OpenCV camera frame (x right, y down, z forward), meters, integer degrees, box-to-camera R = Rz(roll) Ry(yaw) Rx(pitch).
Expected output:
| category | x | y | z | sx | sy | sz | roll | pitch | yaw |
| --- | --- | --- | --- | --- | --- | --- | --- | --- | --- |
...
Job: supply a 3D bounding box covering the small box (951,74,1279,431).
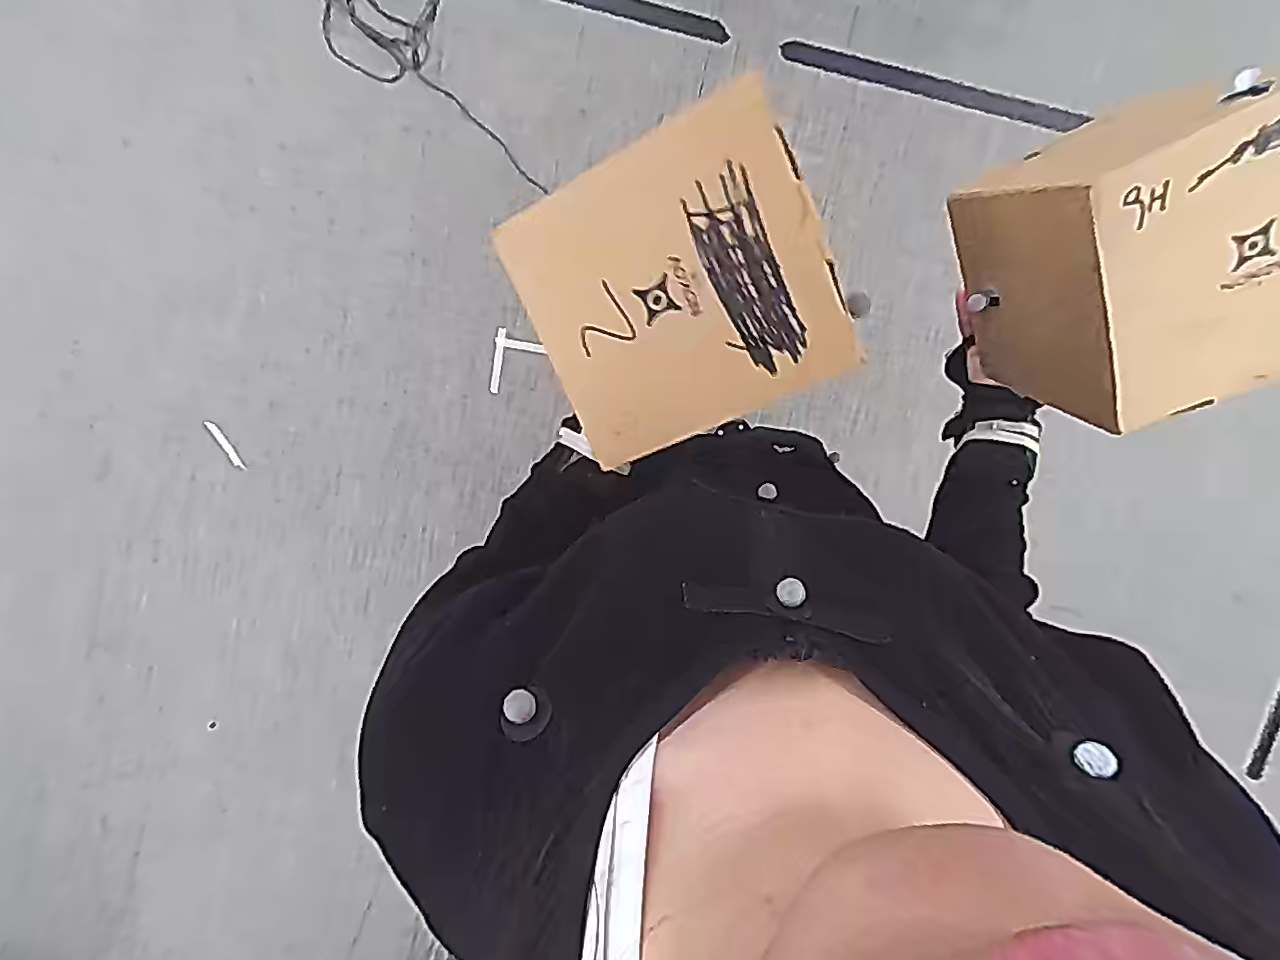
| category | x | y | z | sx | sy | sz | roll | pitch | yaw |
| --- | --- | --- | --- | --- | --- | --- | --- | --- | --- |
| small box | 0.367 | -0.168 | 0.403 | 0.168 | 0.176 | 0.179 | -23 | 113 | 11 |
